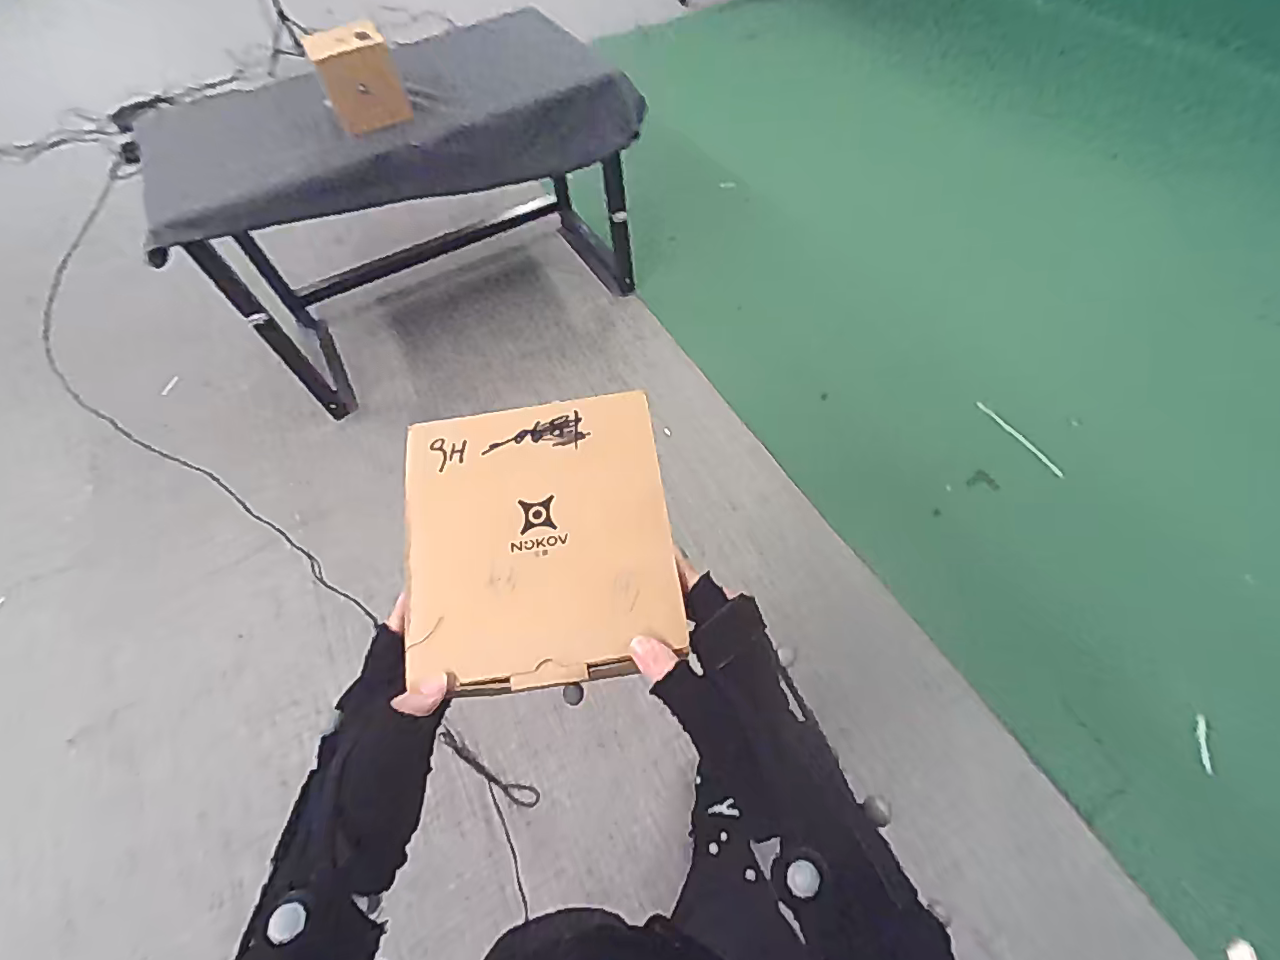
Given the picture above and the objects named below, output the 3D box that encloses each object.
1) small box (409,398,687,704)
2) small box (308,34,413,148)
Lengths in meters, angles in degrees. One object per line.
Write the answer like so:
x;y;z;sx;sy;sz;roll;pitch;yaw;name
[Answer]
-0.060;0.063;0.414;0.168;0.176;0.179;-9;69;-2;small box
-0.698;-0.984;1.372;0.179;0.176;0.168;-26;58;-10;small box
